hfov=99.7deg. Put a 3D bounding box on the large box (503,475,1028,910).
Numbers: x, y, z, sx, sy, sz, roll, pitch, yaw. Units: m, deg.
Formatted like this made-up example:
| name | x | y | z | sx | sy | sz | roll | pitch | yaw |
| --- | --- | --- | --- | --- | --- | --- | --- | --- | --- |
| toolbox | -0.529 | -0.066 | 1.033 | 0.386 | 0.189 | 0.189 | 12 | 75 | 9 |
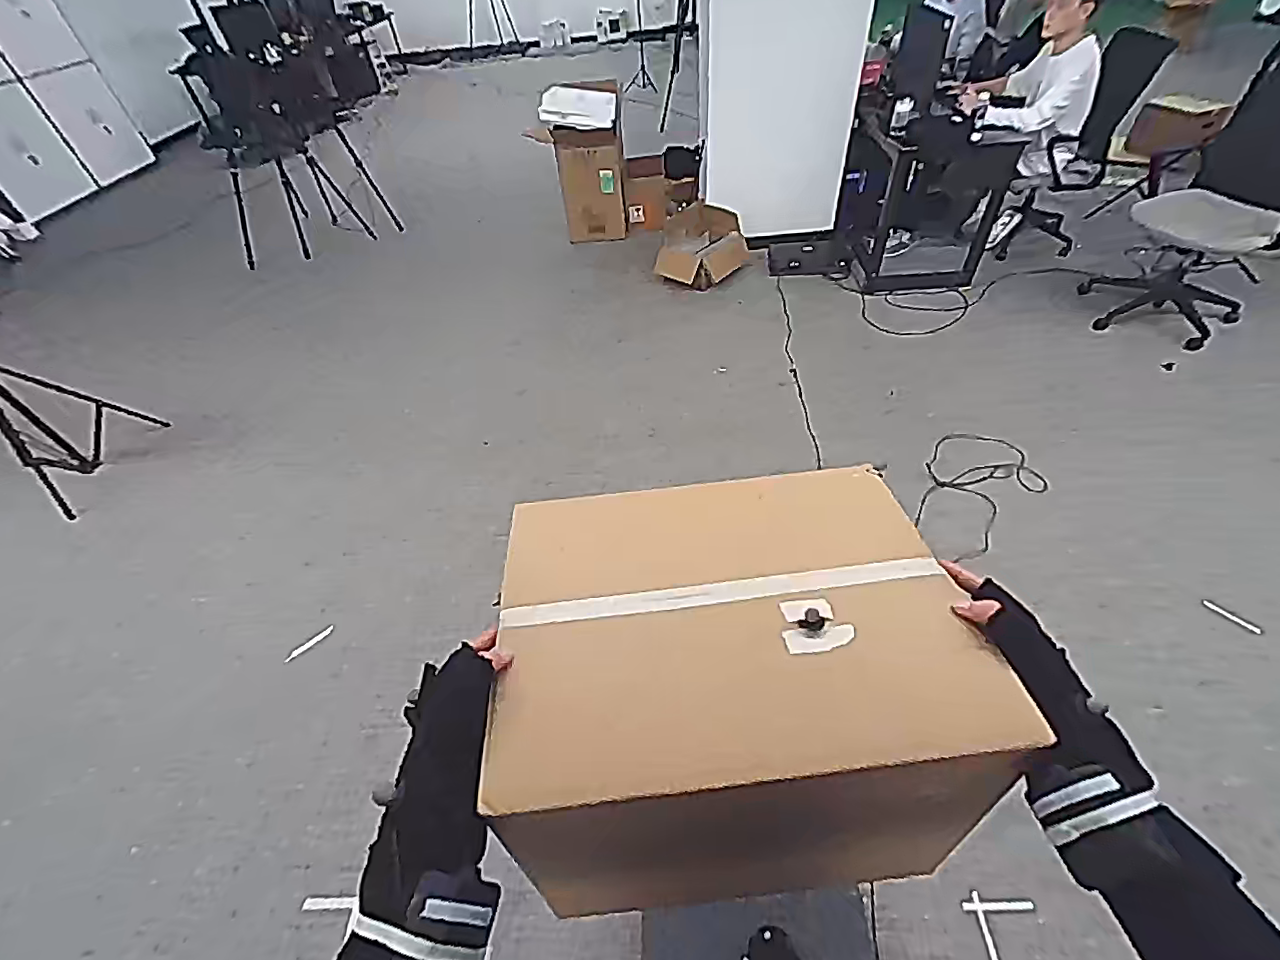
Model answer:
| name | x | y | z | sx | sy | sz | roll | pitch | yaw |
| --- | --- | --- | --- | --- | --- | --- | --- | --- | --- |
| large box | 0.091 | 0.228 | 0.603 | 0.408 | 0.320 | 0.320 | -7 | 40 | -1 |
